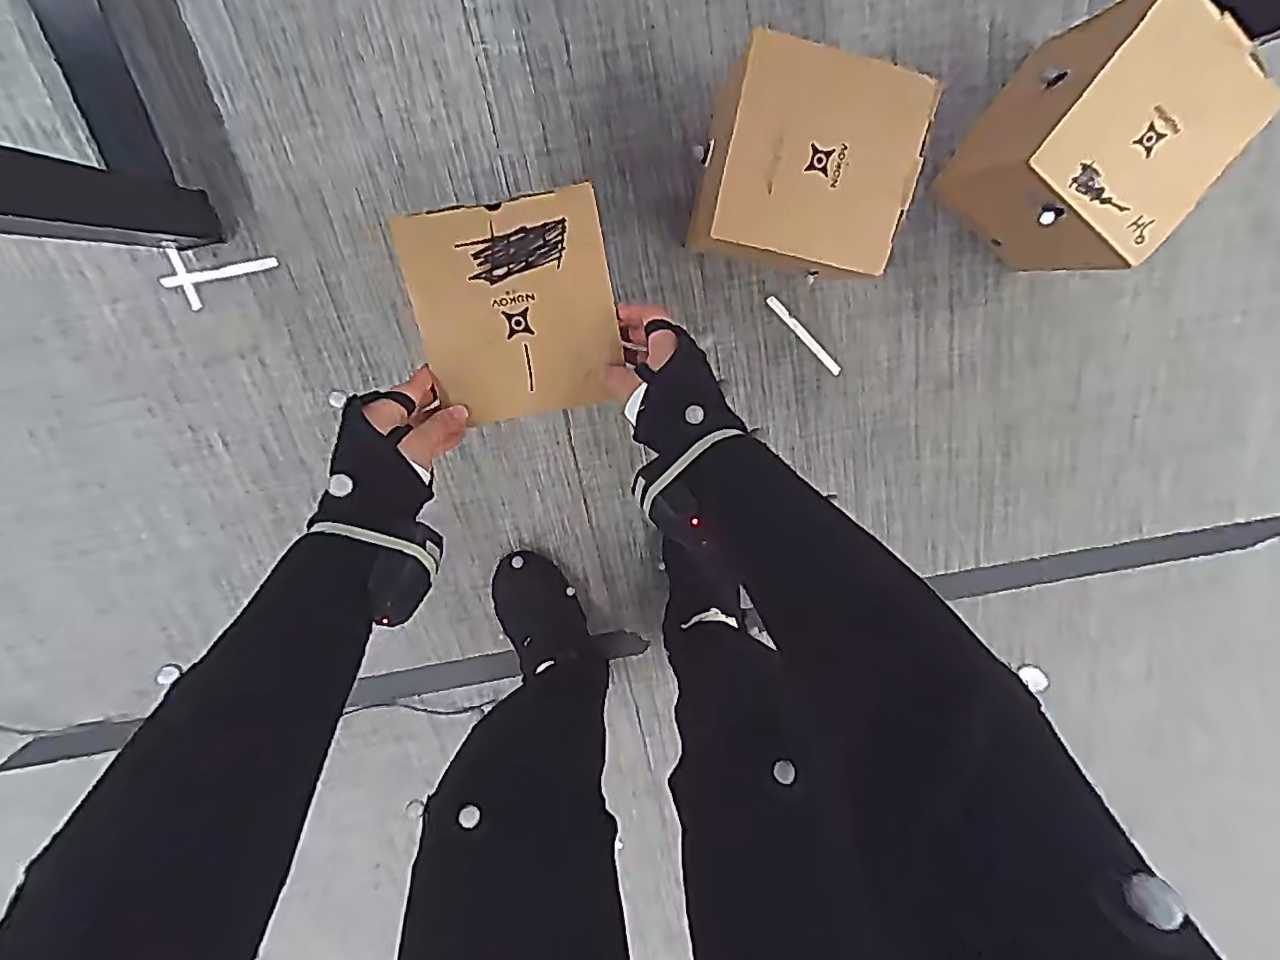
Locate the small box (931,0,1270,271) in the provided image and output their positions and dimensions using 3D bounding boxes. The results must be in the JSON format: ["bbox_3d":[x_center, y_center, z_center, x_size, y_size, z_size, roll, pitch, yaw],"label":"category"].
[{"bbox_3d":[0.456,-0.343,0.568,0.168,0.176,0.179,31,104,-14],"label":"small box"}]

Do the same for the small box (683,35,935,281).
[{"bbox_3d":[0.154,-0.310,0.561,0.179,0.176,0.168,9,108,-6],"label":"small box"}]

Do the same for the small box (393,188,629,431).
[{"bbox_3d":[-0.112,-0.158,0.531,0.168,0.176,0.179,-12,105,-3],"label":"small box"}]
